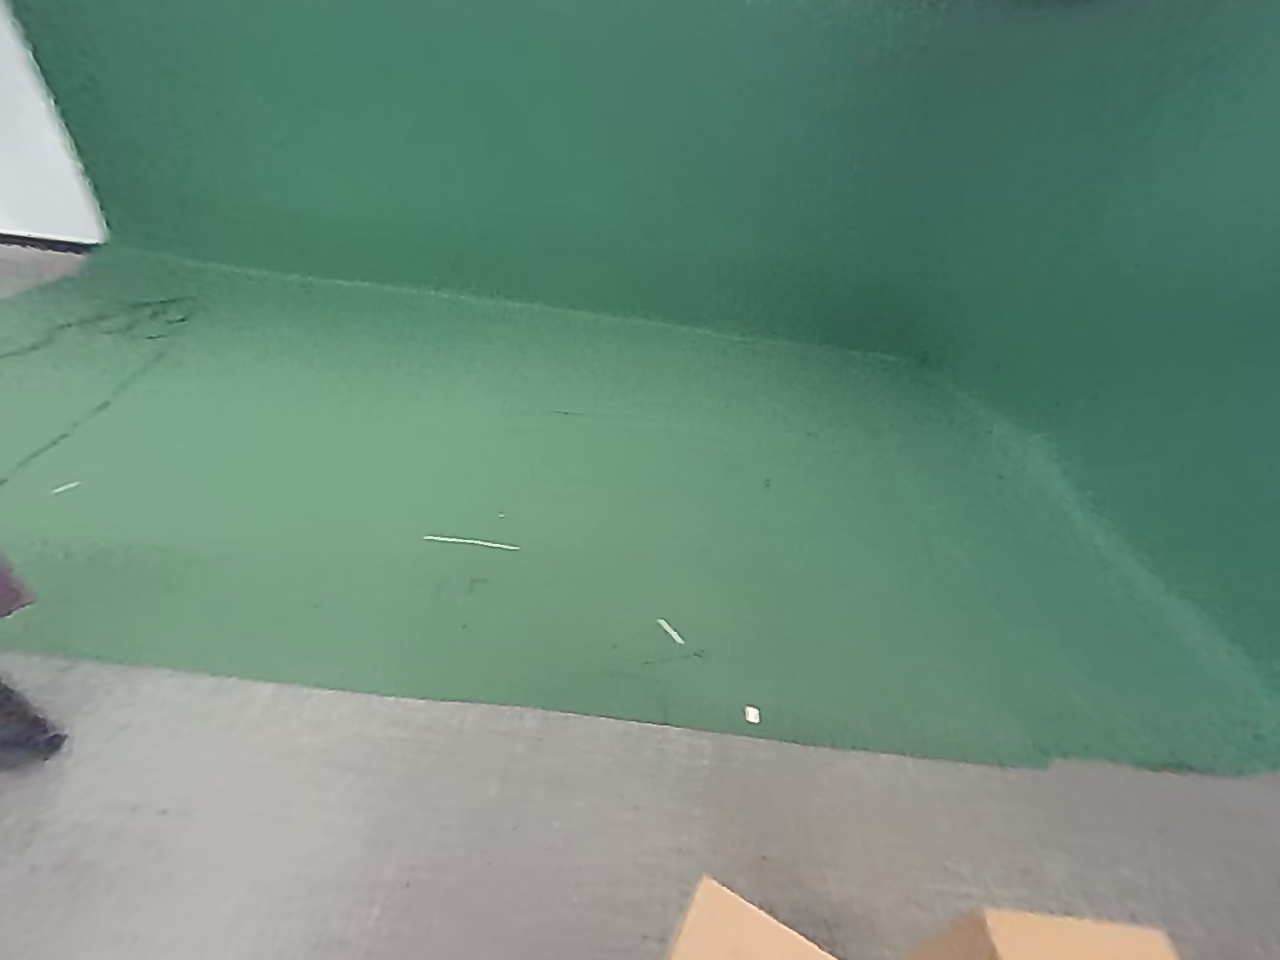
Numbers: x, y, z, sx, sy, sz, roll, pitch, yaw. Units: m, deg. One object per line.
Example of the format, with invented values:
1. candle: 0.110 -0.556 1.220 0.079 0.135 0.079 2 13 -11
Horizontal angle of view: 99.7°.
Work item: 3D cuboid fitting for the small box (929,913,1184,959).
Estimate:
1. small box: 0.394 0.528 0.490 0.179 0.176 0.168 7 38 1
